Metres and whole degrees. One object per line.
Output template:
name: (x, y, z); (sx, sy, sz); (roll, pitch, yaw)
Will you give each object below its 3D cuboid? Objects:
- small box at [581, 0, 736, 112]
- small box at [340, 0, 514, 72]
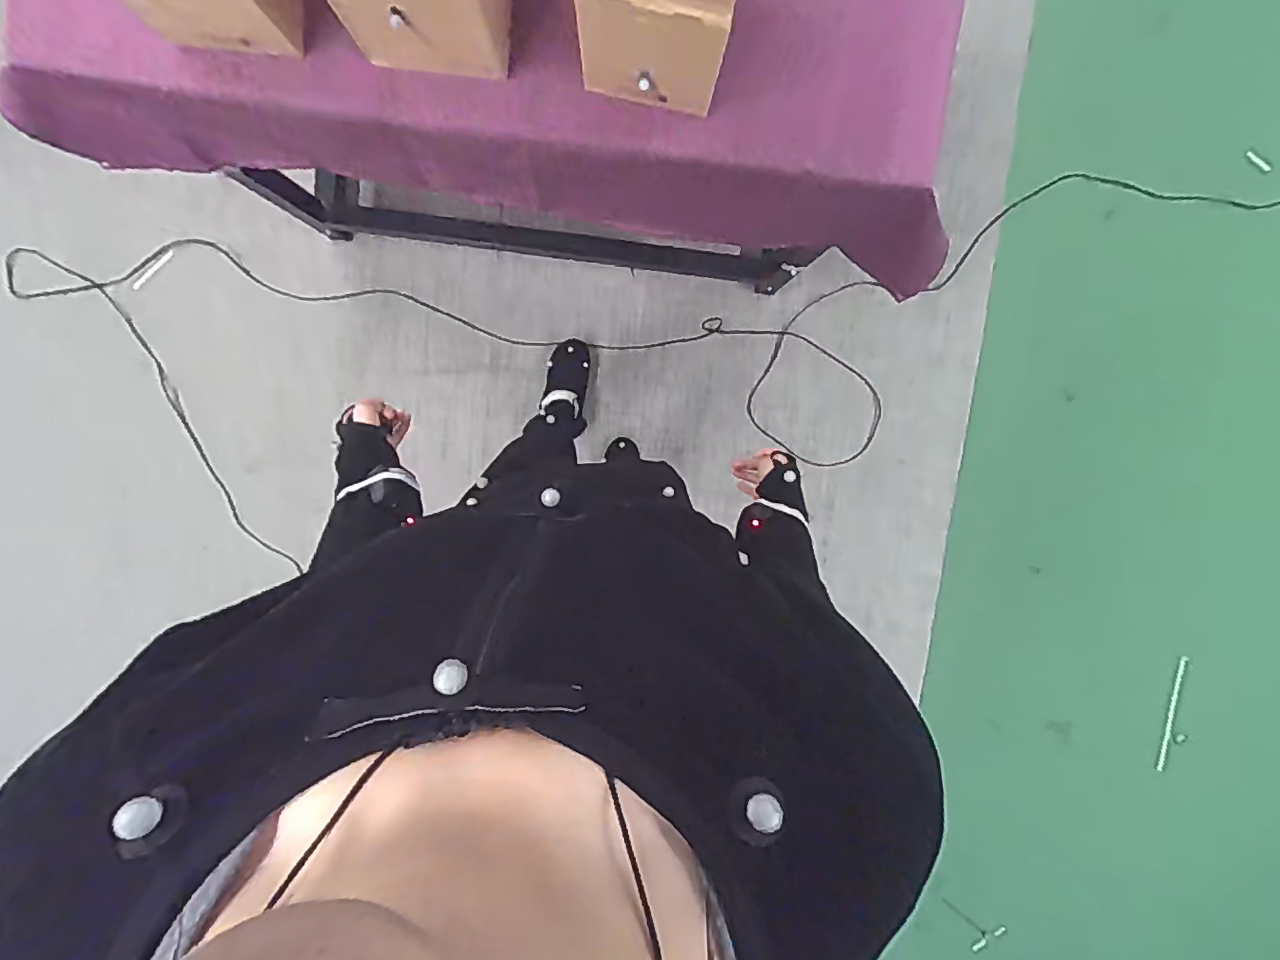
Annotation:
small box: (0.028, -0.572, 0.615); (0.168, 0.176, 0.179); (12, 96, -2)
small box: (-0.247, -0.600, 0.607); (0.179, 0.176, 0.168); (6, 97, -2)
